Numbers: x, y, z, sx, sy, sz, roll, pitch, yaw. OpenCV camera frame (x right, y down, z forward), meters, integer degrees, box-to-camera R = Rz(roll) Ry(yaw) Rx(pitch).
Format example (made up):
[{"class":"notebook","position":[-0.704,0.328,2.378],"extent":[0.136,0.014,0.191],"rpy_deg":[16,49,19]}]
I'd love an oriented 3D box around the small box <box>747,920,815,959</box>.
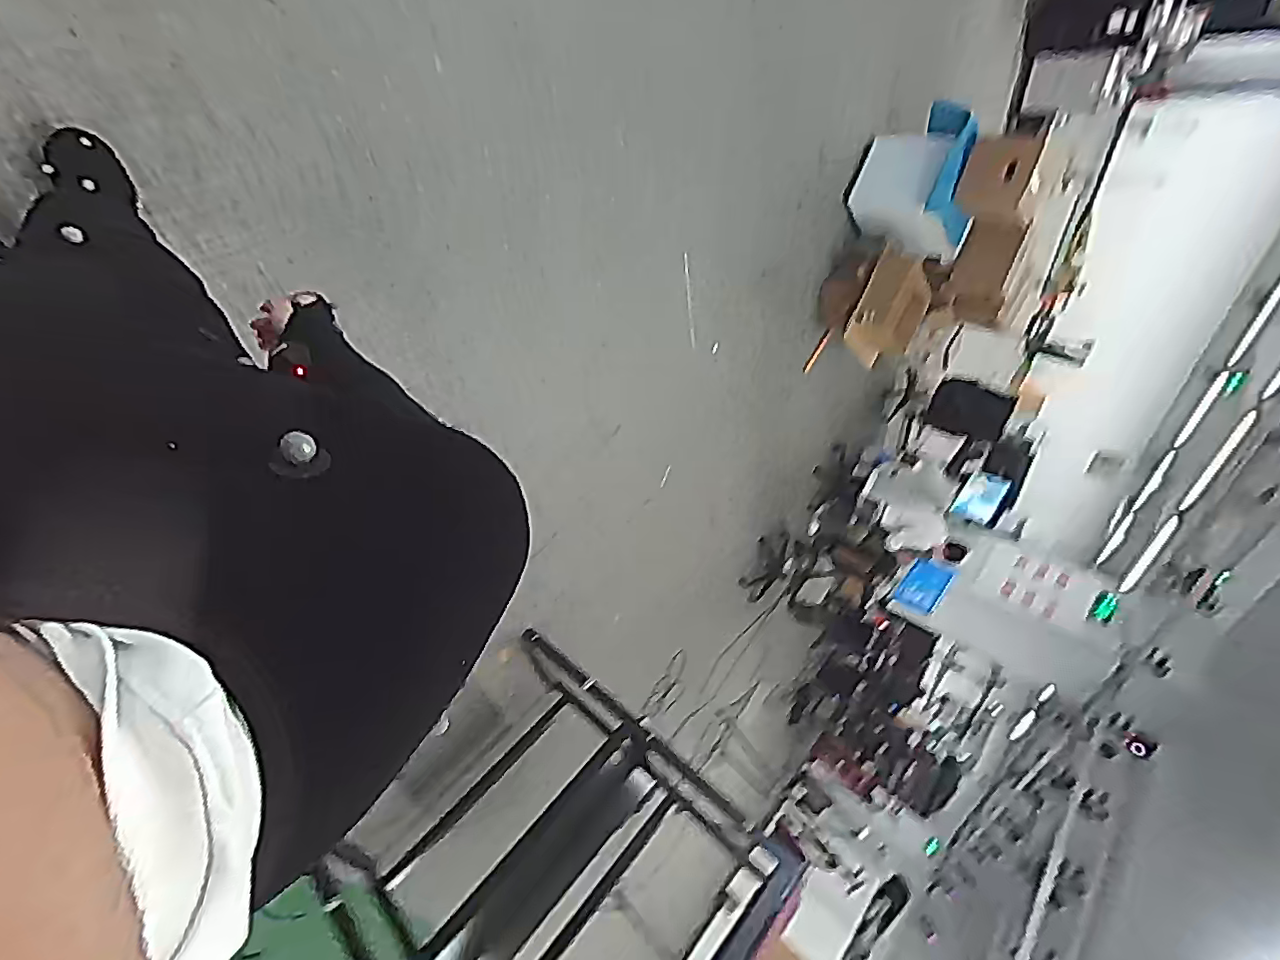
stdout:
[{"class":"small box","position":[0.437,1.539,1.698],"extent":[0.179,0.176,0.168],"rpy_deg":[-41,139,-26]}]
